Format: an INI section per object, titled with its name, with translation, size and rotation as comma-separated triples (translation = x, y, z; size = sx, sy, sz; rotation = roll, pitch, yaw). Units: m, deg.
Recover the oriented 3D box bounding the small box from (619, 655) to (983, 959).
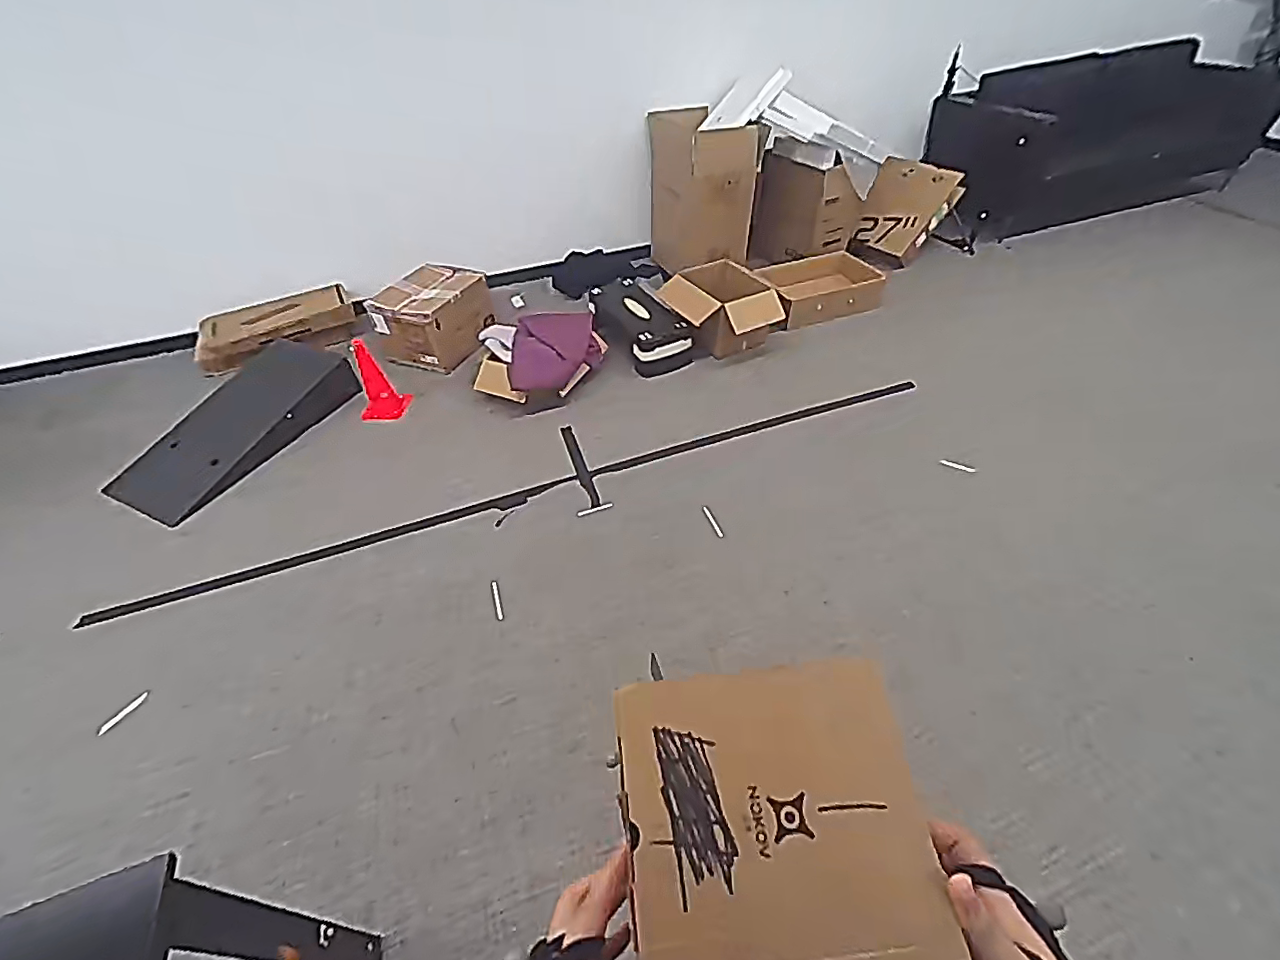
[small box]
translation = 0.082, 0.233, 0.377
size = 0.179, 0.176, 0.168
rotation = -5, 59, -4
